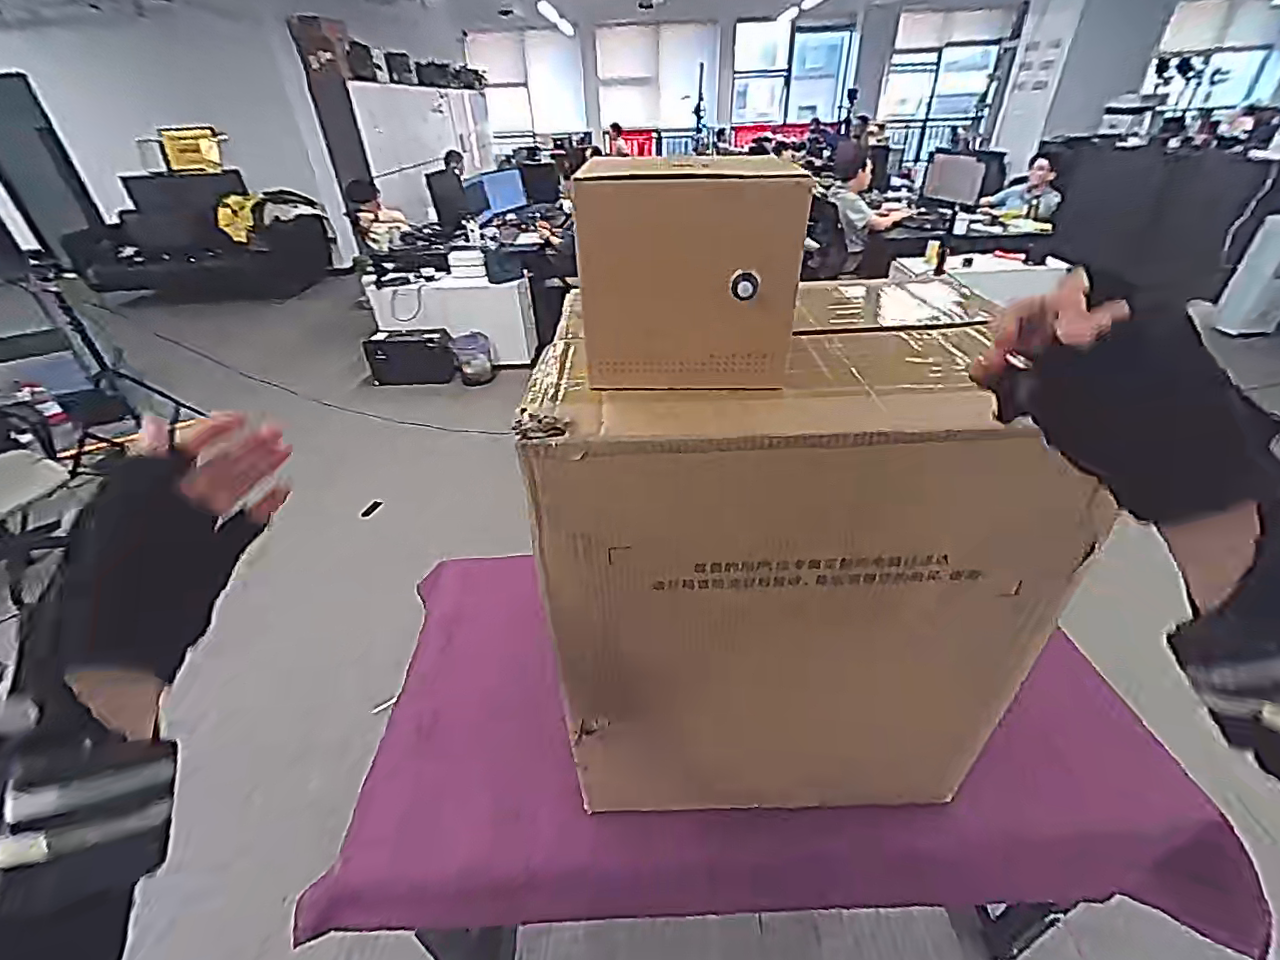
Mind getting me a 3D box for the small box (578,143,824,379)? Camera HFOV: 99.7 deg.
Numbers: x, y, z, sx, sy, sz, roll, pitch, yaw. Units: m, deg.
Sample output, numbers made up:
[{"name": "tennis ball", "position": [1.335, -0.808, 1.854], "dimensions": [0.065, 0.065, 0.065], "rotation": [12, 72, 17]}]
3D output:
[{"name": "small box", "position": [0.046, -0.199, 0.489], "dimensions": [0.179, 0.176, 0.168], "rotation": [-1, 34, 2]}]
